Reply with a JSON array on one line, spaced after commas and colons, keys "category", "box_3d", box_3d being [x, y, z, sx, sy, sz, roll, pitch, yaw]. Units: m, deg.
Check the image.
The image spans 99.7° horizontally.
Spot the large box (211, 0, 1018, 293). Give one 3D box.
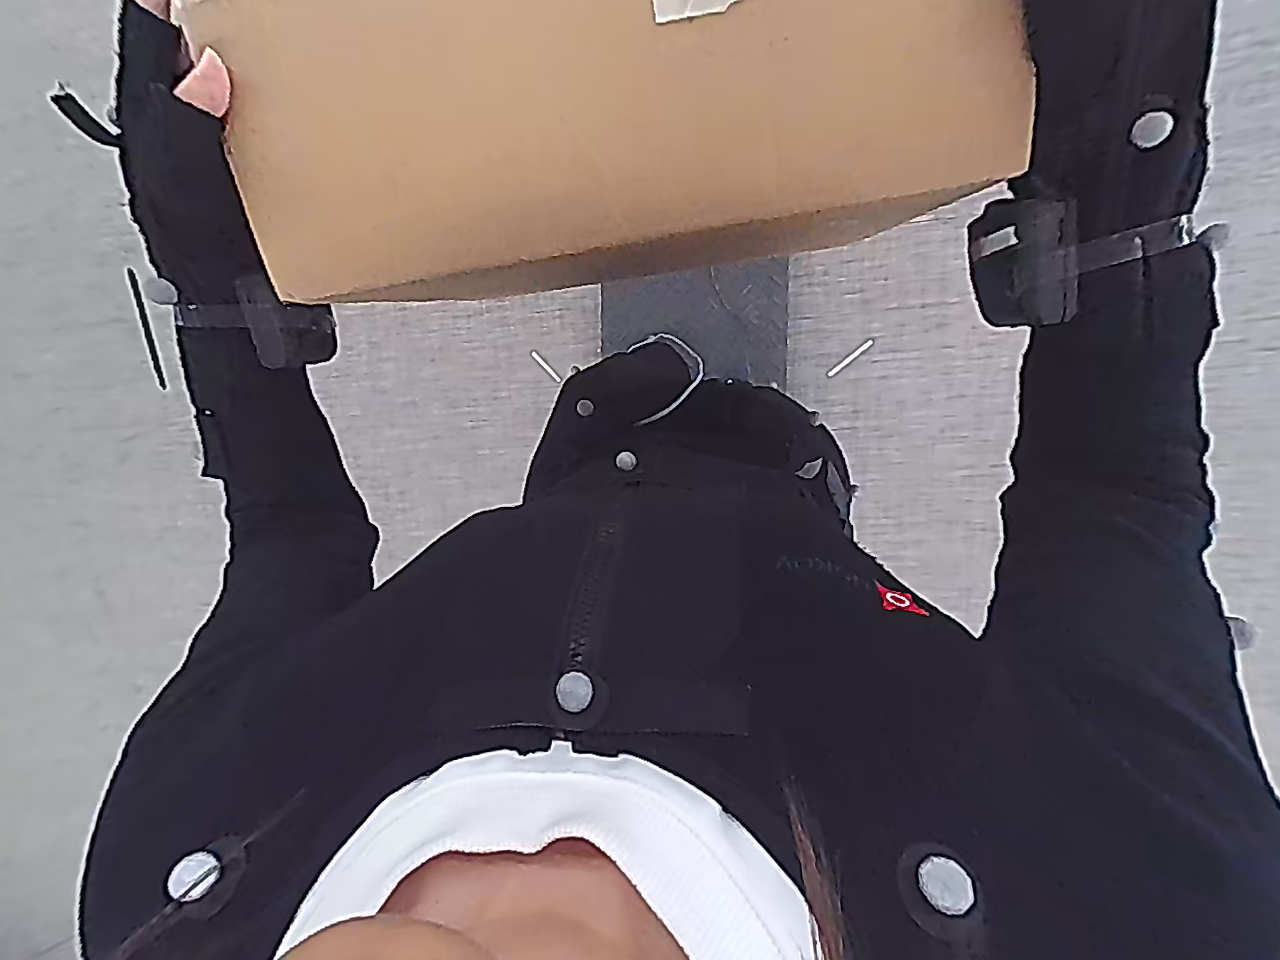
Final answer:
[{"category": "large box", "box_3d": [-0.017, -0.330, 0.393, 0.408, 0.320, 0.320, -6, 108, 10]}]
